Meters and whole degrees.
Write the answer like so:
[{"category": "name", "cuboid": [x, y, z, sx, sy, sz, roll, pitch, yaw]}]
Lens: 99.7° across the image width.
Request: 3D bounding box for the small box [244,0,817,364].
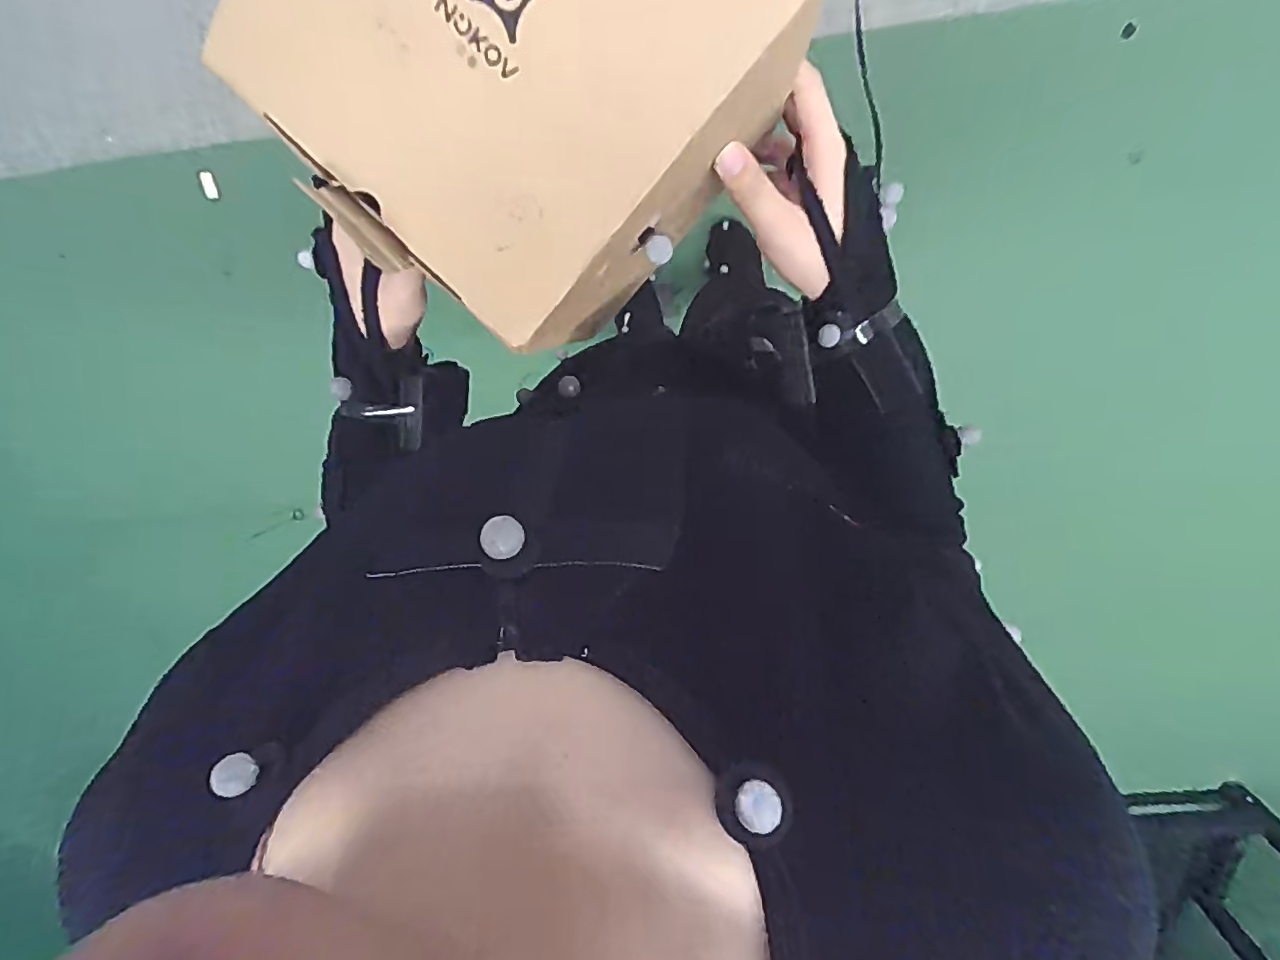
[{"category": "small box", "cuboid": [-0.039, -0.185, 0.282, 0.168, 0.176, 0.179, 43, 108, -7]}]
